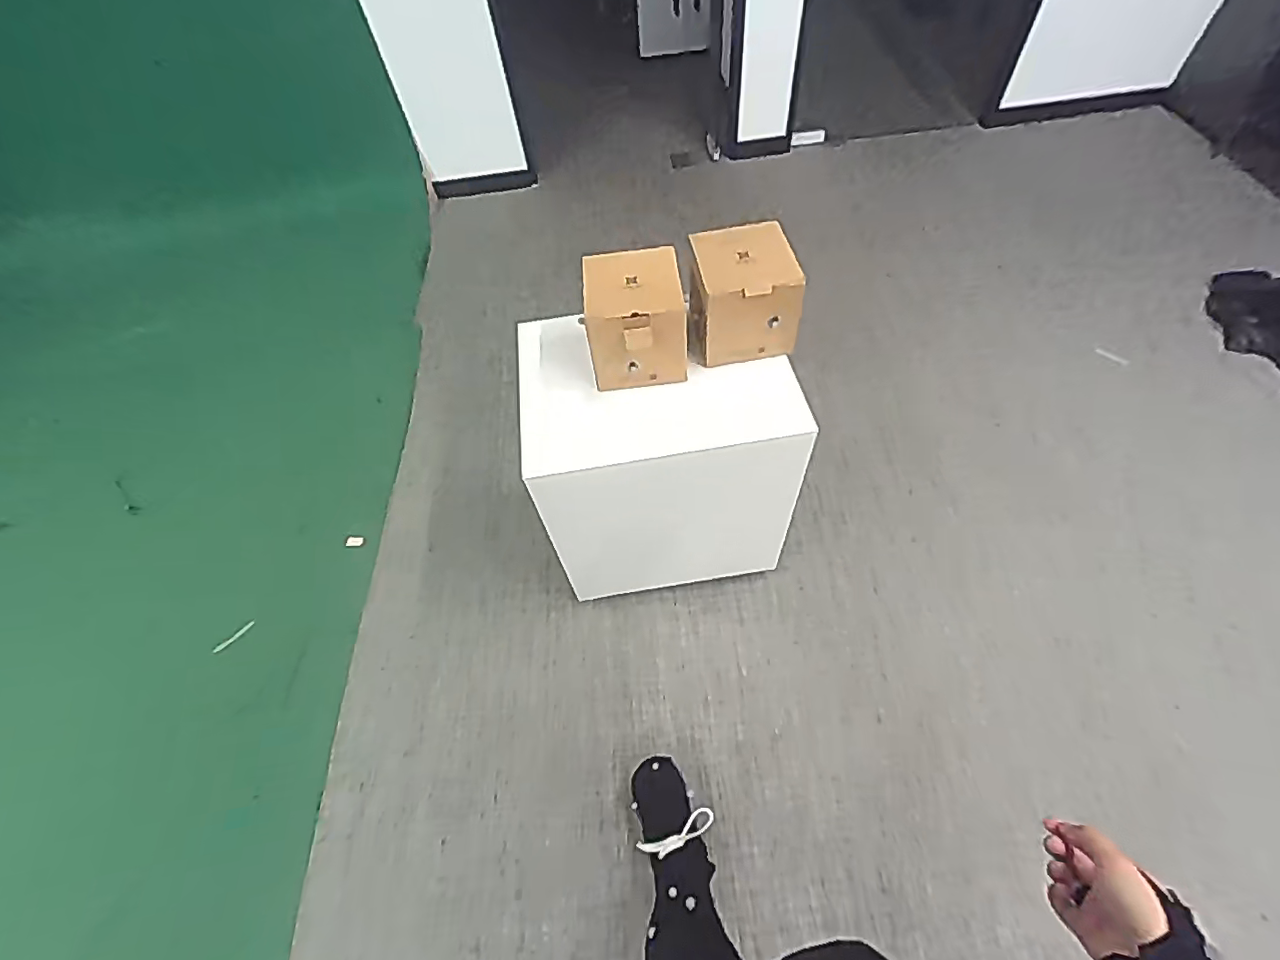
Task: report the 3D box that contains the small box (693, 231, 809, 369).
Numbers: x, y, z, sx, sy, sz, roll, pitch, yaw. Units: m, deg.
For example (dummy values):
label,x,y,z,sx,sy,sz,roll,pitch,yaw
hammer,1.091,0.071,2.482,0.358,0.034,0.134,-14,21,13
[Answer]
label,x,y,z,sx,sy,sz,roll,pitch,yaw
small box,0.193,-0.321,0.990,0.168,0.176,0.179,-9,55,-1
